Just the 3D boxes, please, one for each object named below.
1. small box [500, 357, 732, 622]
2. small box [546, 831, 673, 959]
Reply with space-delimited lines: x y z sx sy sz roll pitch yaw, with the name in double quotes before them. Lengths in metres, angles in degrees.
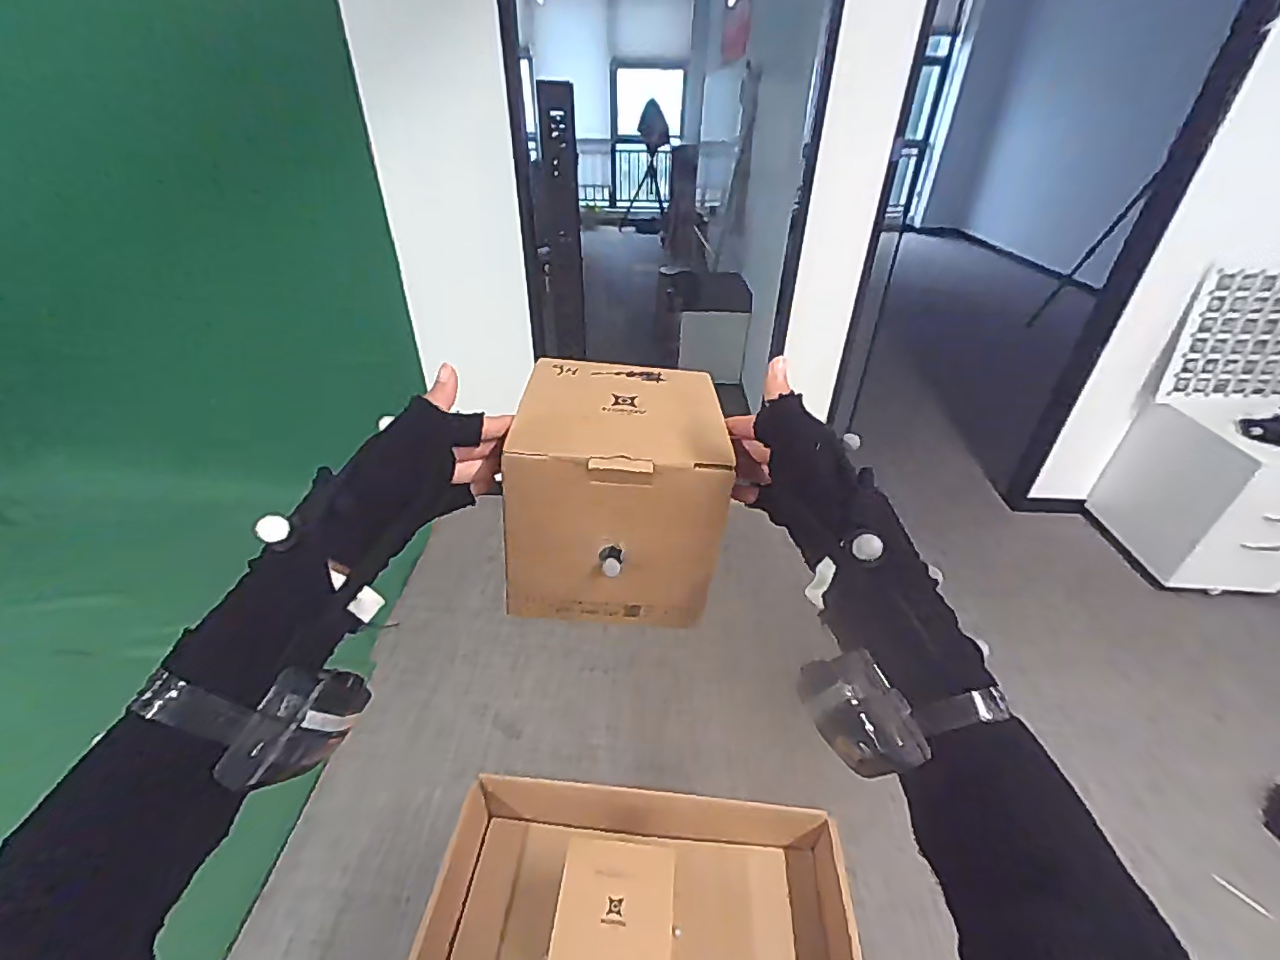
"small box" -0.022 0.007 0.487 0.168 0.176 0.179 5 35 -3
"small box" -0.041 0.667 0.810 0.168 0.176 0.179 6 33 2
